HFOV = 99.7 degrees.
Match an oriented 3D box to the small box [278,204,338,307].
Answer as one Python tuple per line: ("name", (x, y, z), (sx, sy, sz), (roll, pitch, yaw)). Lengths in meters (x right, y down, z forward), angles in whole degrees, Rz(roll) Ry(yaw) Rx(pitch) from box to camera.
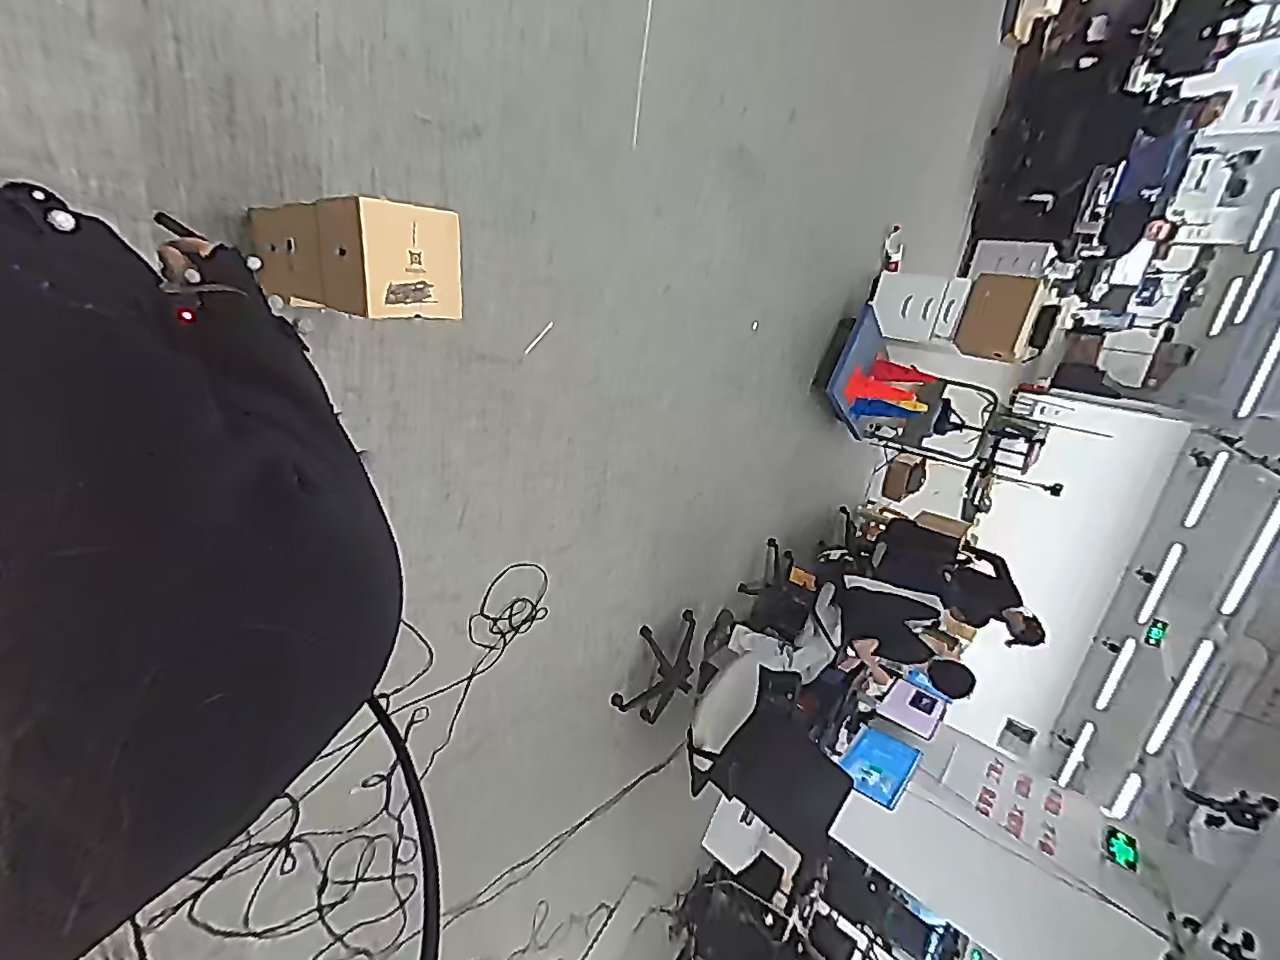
("small box", (-0.548, -0.419, 1.022), (0.179, 0.176, 0.168), (-18, 119, -45))

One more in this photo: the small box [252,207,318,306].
("small box", (-0.674, -0.456, 1.119), (0.168, 0.176, 0.179), (-17, 120, -46))

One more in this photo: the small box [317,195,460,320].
("small box", (-0.426, -0.373, 0.922), (0.168, 0.176, 0.179), (-17, 118, -46))
